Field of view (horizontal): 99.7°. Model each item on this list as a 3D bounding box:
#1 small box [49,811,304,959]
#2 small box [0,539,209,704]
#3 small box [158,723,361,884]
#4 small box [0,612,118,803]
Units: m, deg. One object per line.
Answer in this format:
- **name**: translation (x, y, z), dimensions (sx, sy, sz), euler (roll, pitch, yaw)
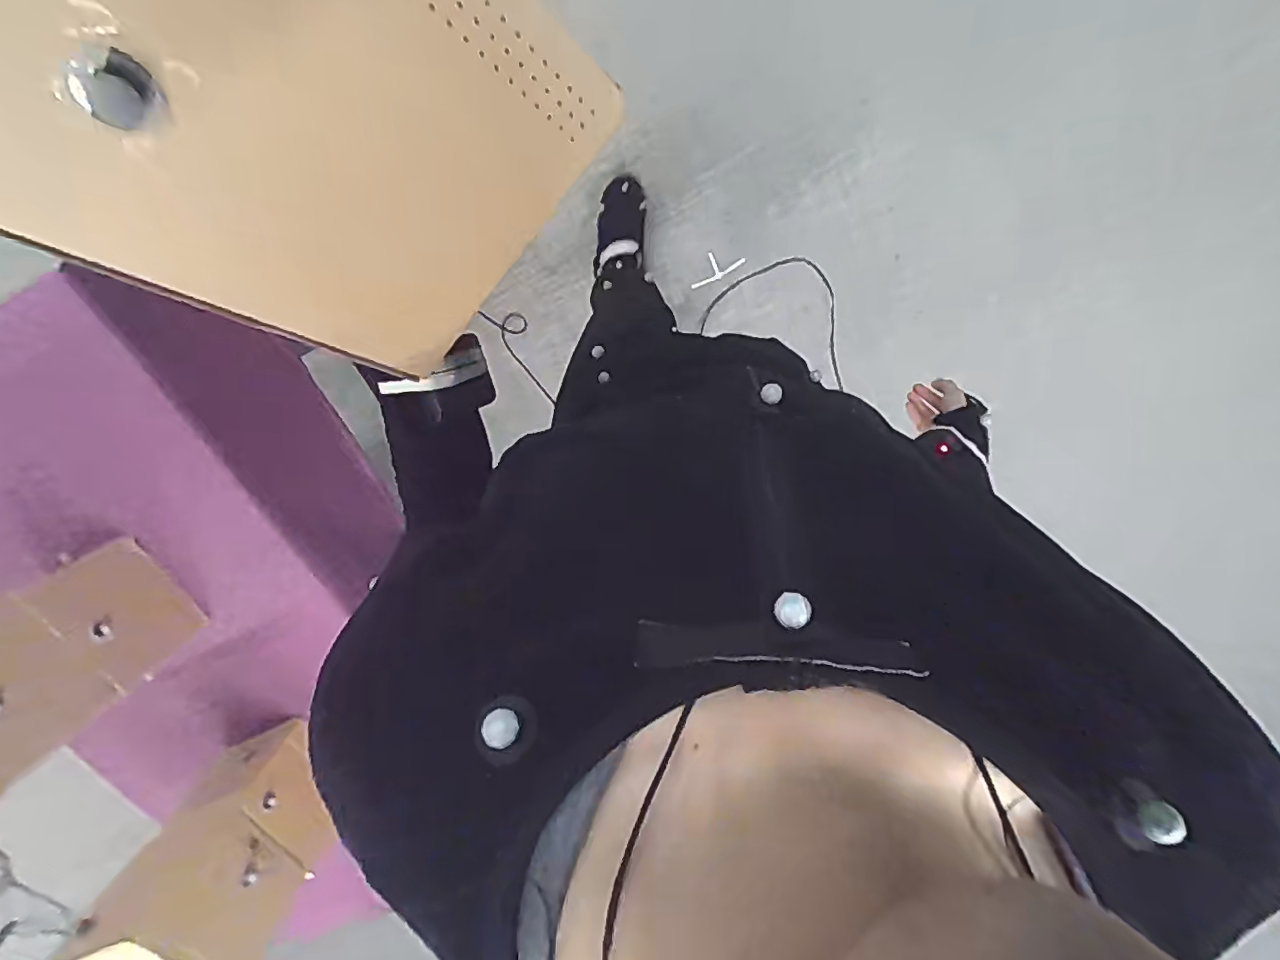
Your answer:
- **small box**: translation (-0.612, 0.597, 0.733), dimensions (0.179, 0.176, 0.168), euler (-26, 109, 10)
- **small box**: translation (-0.774, 0.213, 0.759), dimensions (0.168, 0.176, 0.179), euler (-25, 109, 8)
- **small box**: translation (-0.604, 0.542, 0.888), dimensions (0.168, 0.176, 0.179), euler (-26, 108, 10)
- **small box**: translation (-0.774, 0.274, 0.606), dimensions (0.168, 0.176, 0.179), euler (-25, 110, 9)
